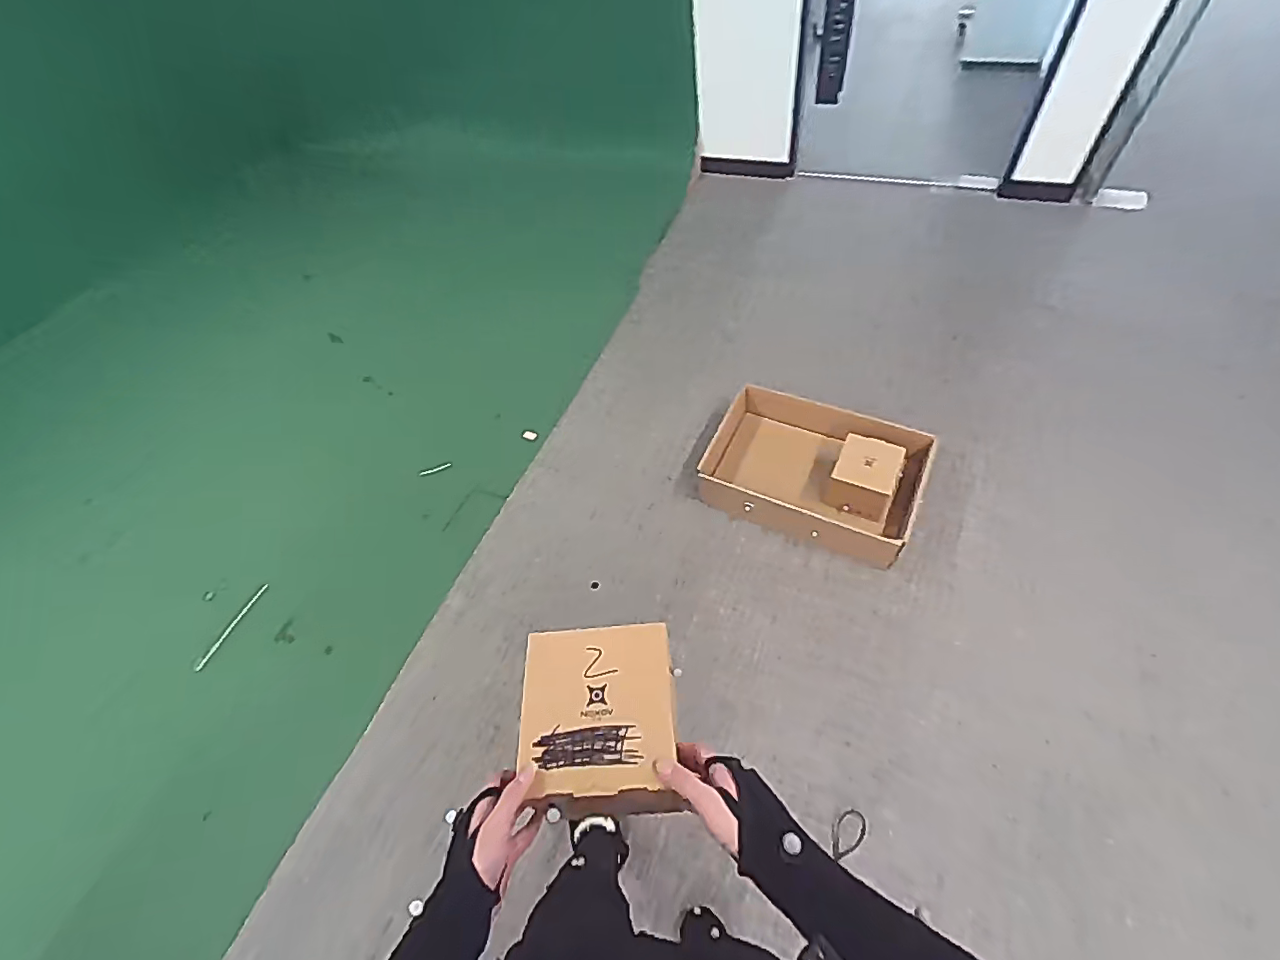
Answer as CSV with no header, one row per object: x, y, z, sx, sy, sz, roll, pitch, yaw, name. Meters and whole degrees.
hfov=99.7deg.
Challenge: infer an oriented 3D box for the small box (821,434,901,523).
0.655,-0.003,1.618,0.168,0.176,0.179,20,63,21,small box
